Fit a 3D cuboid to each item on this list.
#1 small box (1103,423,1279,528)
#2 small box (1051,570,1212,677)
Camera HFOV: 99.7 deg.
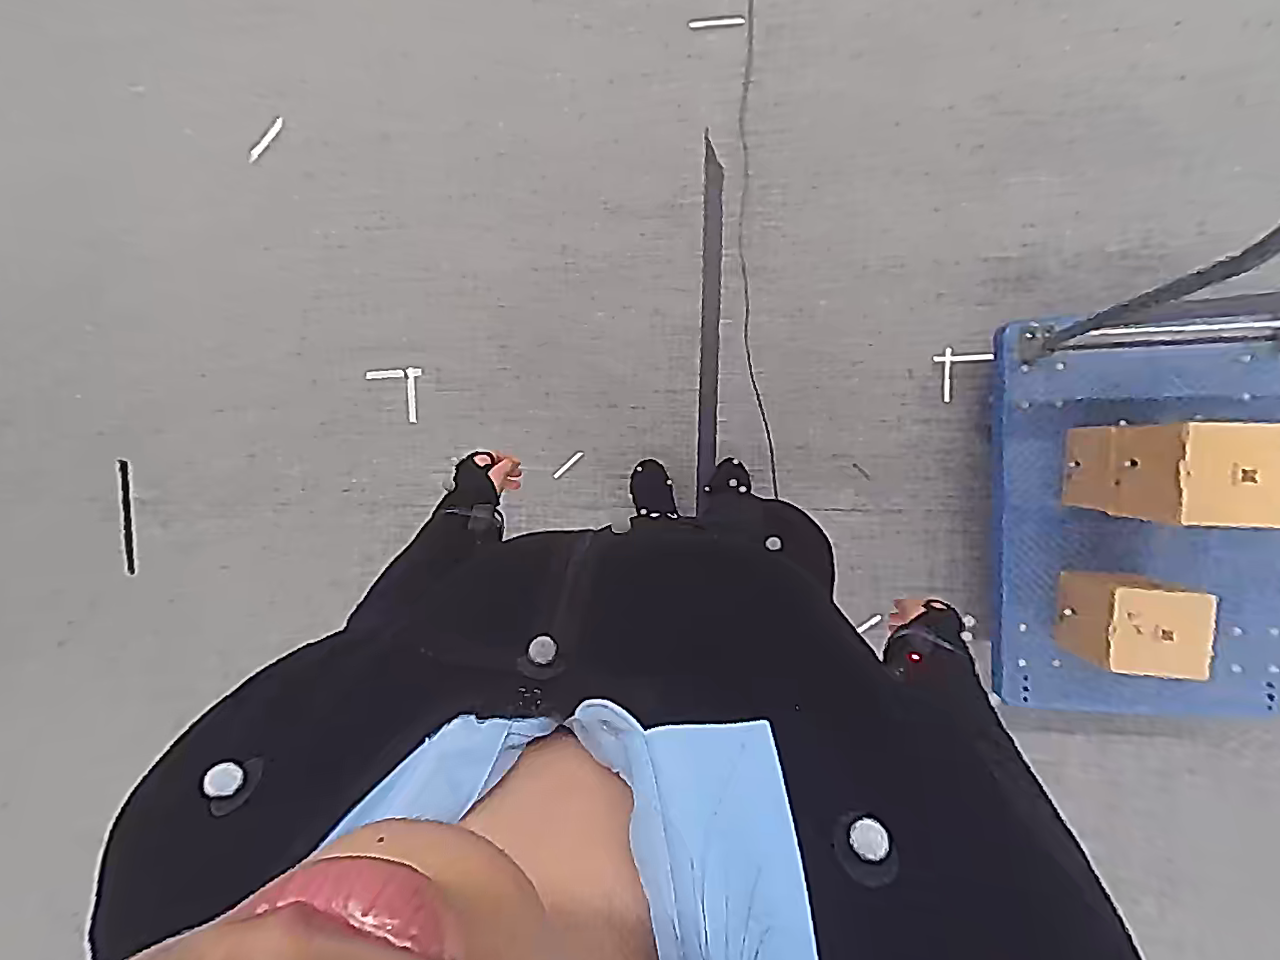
[{"bbox_3d":[0.959,-0.013,0.934,0.179,0.176,0.168,1,93,9],"label":"small box"},{"bbox_3d":[0.994,0.285,1.108,0.179,0.176,0.168,3,93,7],"label":"small box"}]
